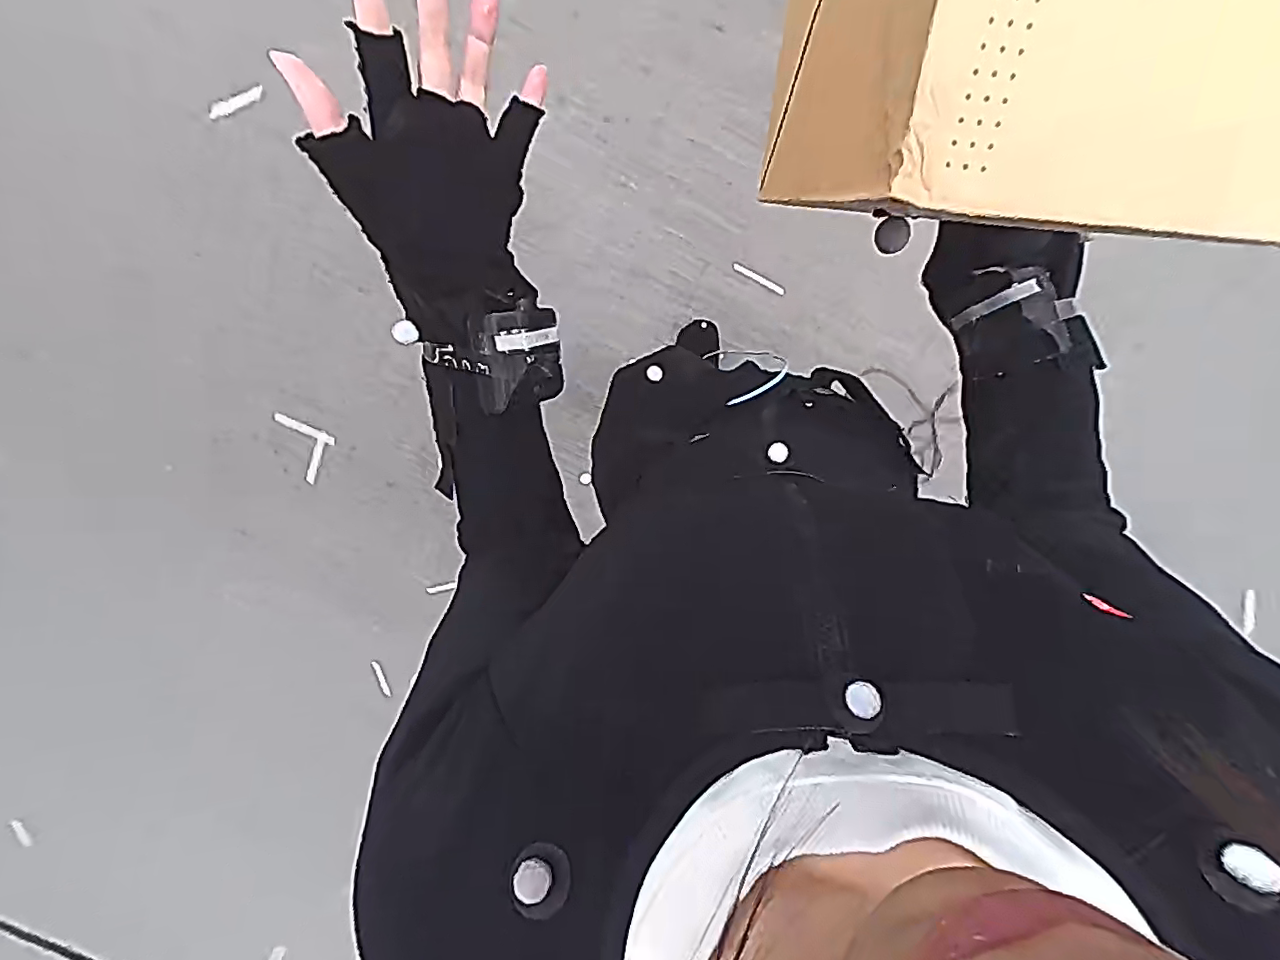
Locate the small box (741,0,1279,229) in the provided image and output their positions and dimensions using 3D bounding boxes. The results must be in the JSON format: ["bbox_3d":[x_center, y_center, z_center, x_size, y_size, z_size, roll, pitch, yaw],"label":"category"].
[{"bbox_3d":[0.154,-0.213,0.239,0.176,0.168,0.179,2,117,-5],"label":"small box"}]
